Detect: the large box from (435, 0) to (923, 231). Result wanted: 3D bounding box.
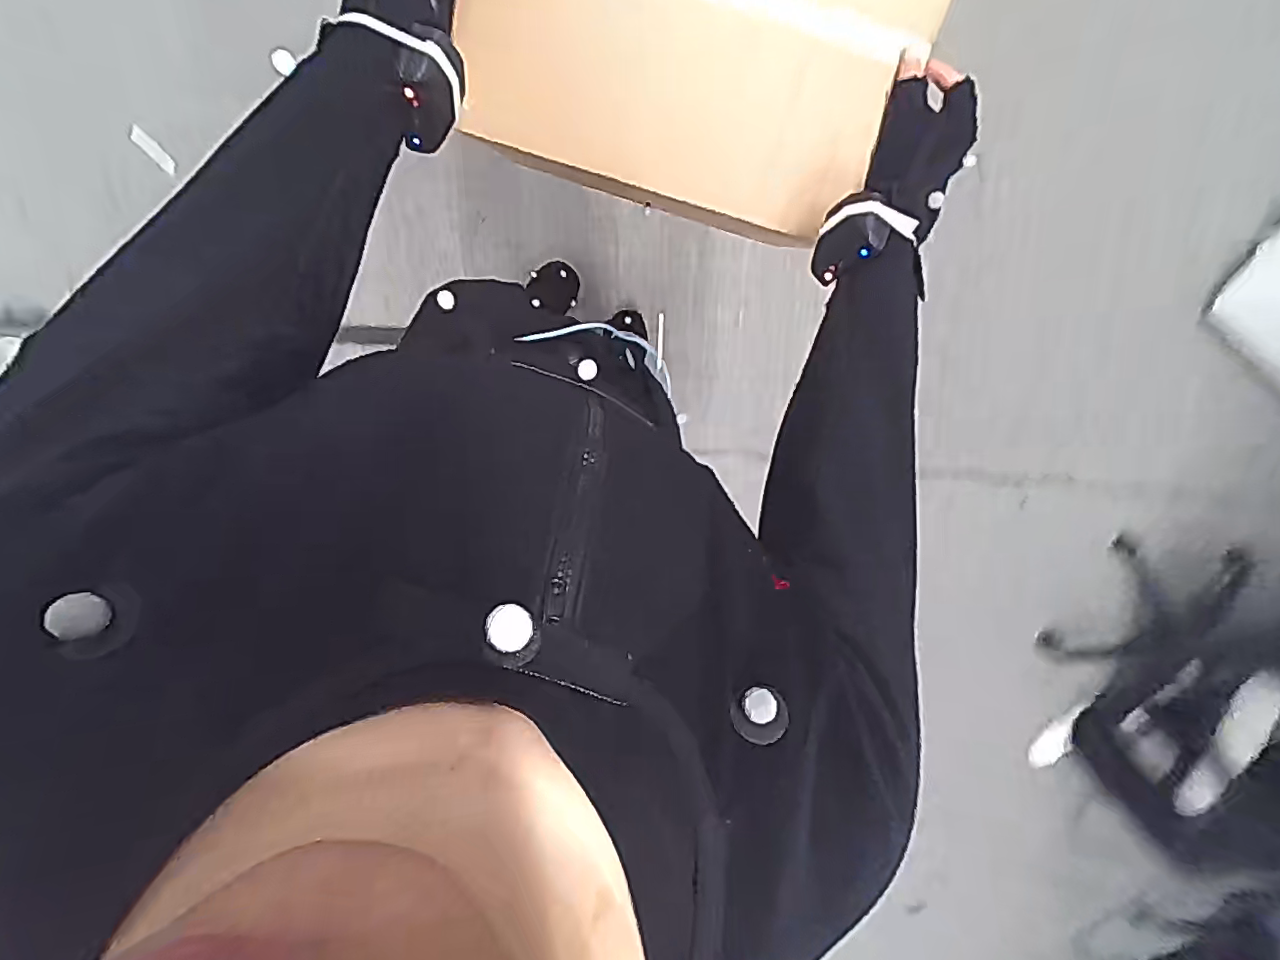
[{"bbox_3d":[0.043,-0.482,0.586,0.408,0.320,0.320,14,113,-5],"label":"large box"}]
